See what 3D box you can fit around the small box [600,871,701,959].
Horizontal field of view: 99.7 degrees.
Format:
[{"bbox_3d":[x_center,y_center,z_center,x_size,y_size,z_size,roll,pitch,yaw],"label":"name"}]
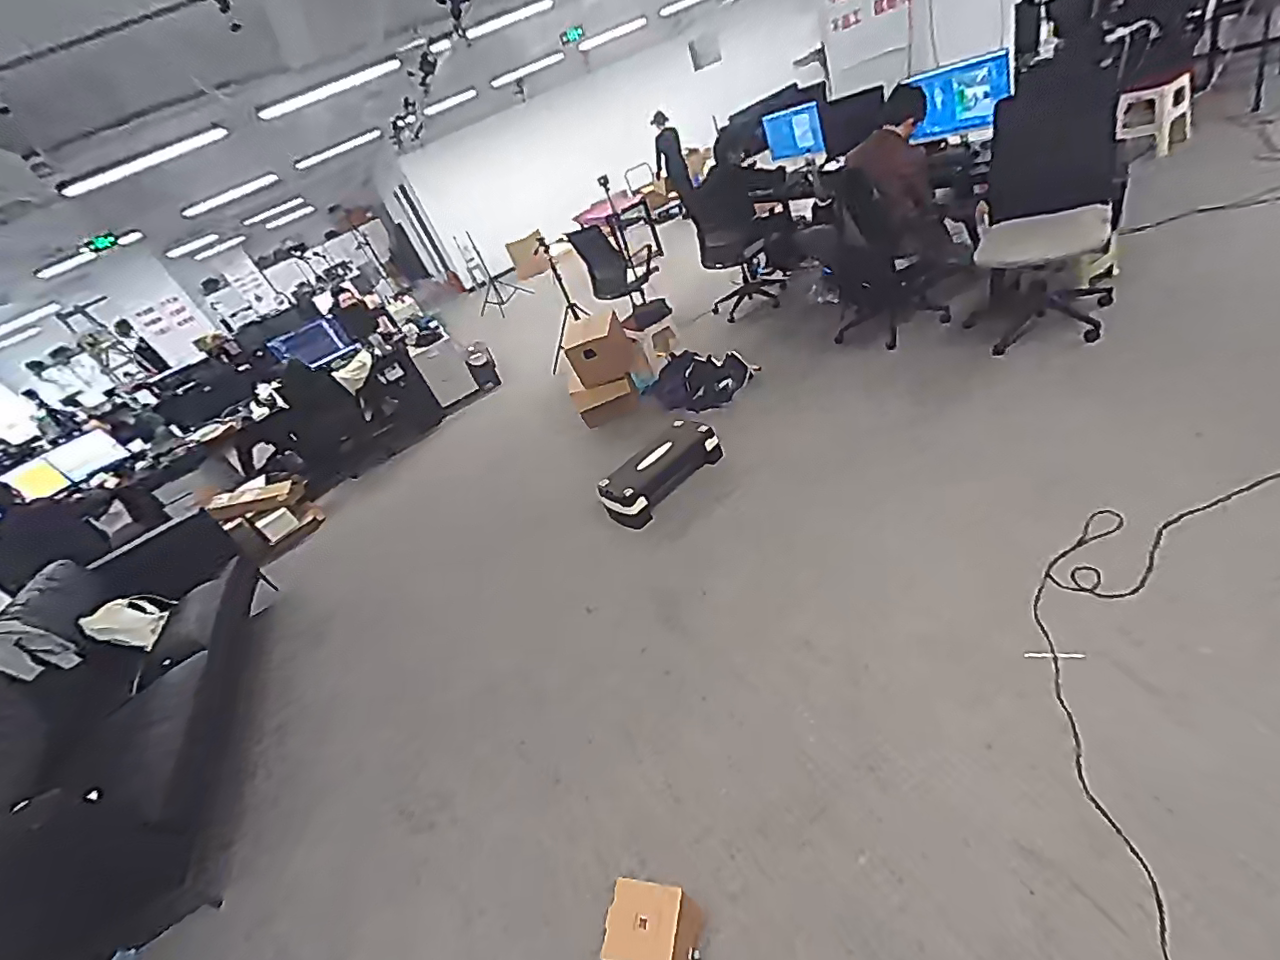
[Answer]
[{"bbox_3d":[0.031,1.082,1.306,0.179,0.176,0.168,-8,37,23],"label":"small box"}]
